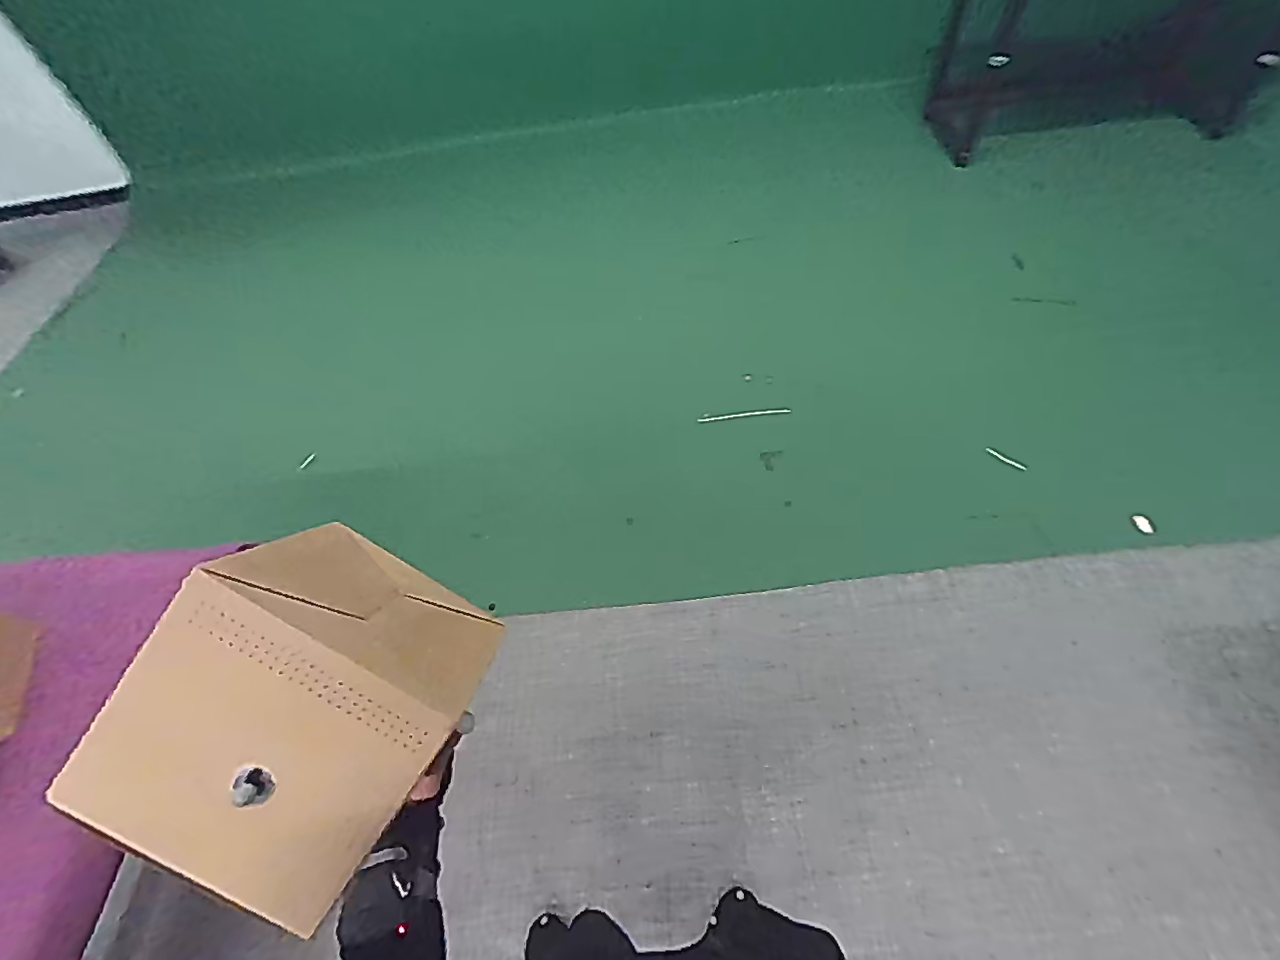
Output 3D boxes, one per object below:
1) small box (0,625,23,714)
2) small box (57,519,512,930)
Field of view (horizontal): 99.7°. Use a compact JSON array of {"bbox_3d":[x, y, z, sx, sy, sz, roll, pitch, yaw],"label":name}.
[{"bbox_3d":[-1.024,0.283,0.737,0.168,0.176,0.179,-22,55,-8],"label":"small box"},{"bbox_3d":[-0.221,0.147,0.390,0.179,0.168,0.176,34,92,-5],"label":"small box"}]
